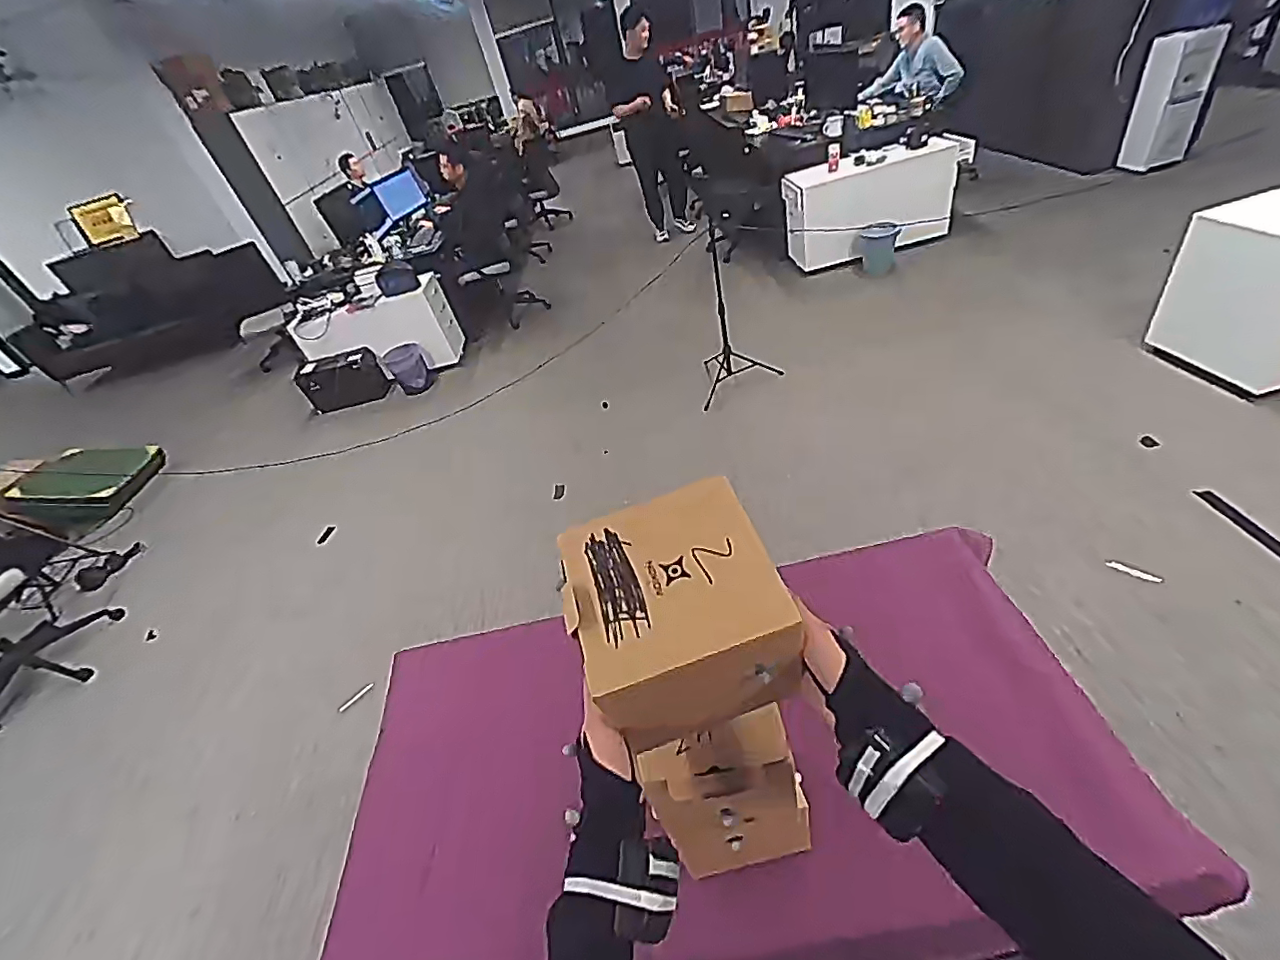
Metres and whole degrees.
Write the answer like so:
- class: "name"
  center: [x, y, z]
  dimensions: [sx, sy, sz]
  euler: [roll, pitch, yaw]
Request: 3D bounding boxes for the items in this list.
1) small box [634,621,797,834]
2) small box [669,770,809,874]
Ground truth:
- class: "small box"
  center: [0.092, 0.309, 0.676]
  dimensions: [0.168, 0.176, 0.179]
  euler: [-13, 39, 6]
- class: "small box"
  center: [0.130, 0.433, 0.777]
  dimensions: [0.179, 0.176, 0.168]
  euler: [-16, 39, 1]
